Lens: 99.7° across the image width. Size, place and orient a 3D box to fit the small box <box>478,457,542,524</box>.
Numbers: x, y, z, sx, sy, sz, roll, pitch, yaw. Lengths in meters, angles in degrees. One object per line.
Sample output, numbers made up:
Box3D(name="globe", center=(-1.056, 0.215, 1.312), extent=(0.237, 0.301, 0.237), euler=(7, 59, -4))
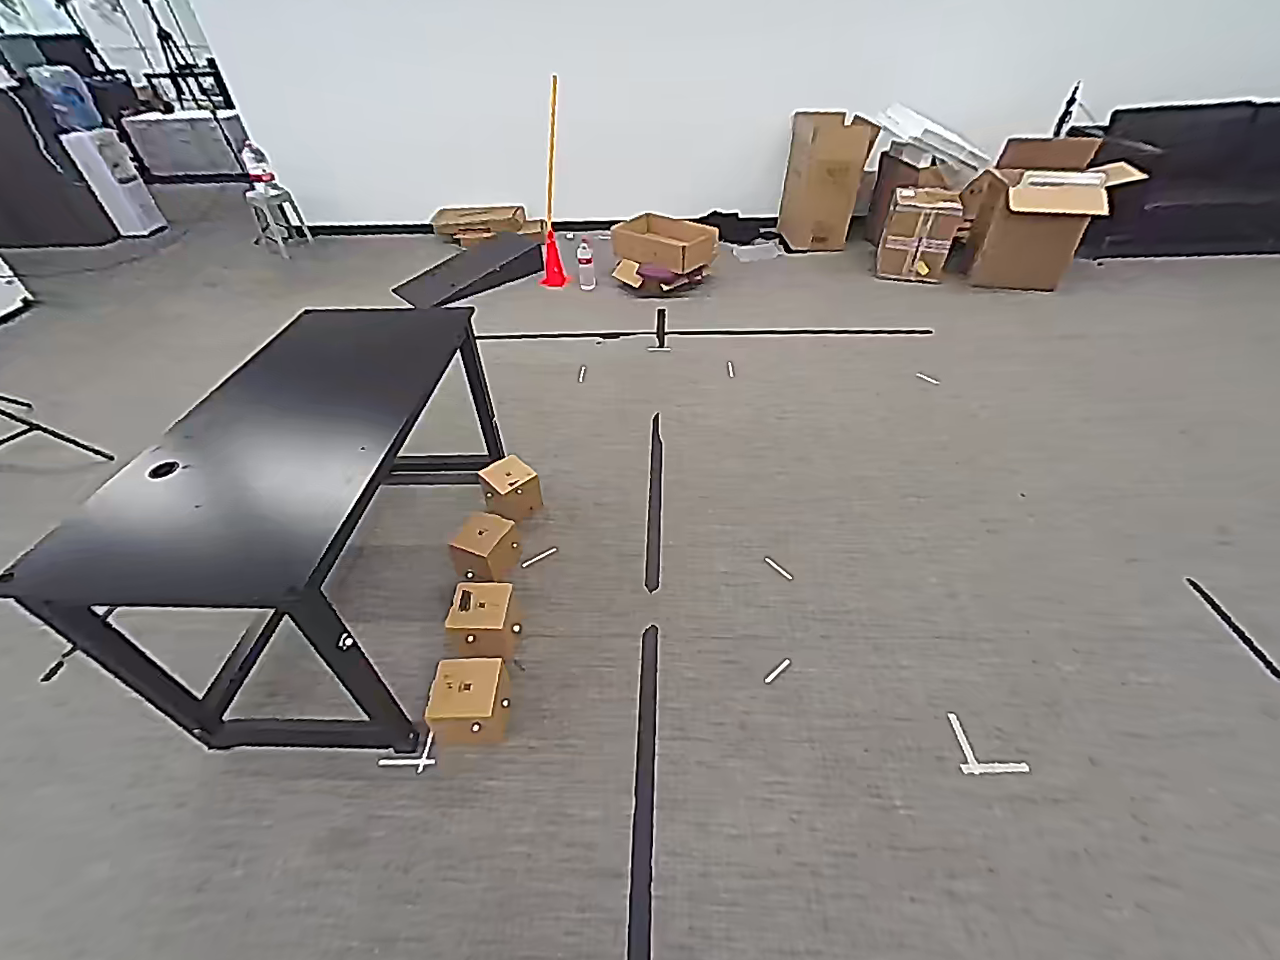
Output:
Box3D(name="small box", center=(-0.509, 0.044, 2.131), extent=(0.168, 0.176, 0.179), euler=(-35, 51, -31))

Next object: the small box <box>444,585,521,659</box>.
Box3D(name="small box", center=(-0.483, 0.445, 1.688), extent=(0.179, 0.176, 0.168), euler=(0, 42, 1))

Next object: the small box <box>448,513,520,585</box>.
Box3D(name="small box", center=(-0.541, 0.249, 1.910), extent=(0.168, 0.176, 0.179), euler=(14, 45, 18))
